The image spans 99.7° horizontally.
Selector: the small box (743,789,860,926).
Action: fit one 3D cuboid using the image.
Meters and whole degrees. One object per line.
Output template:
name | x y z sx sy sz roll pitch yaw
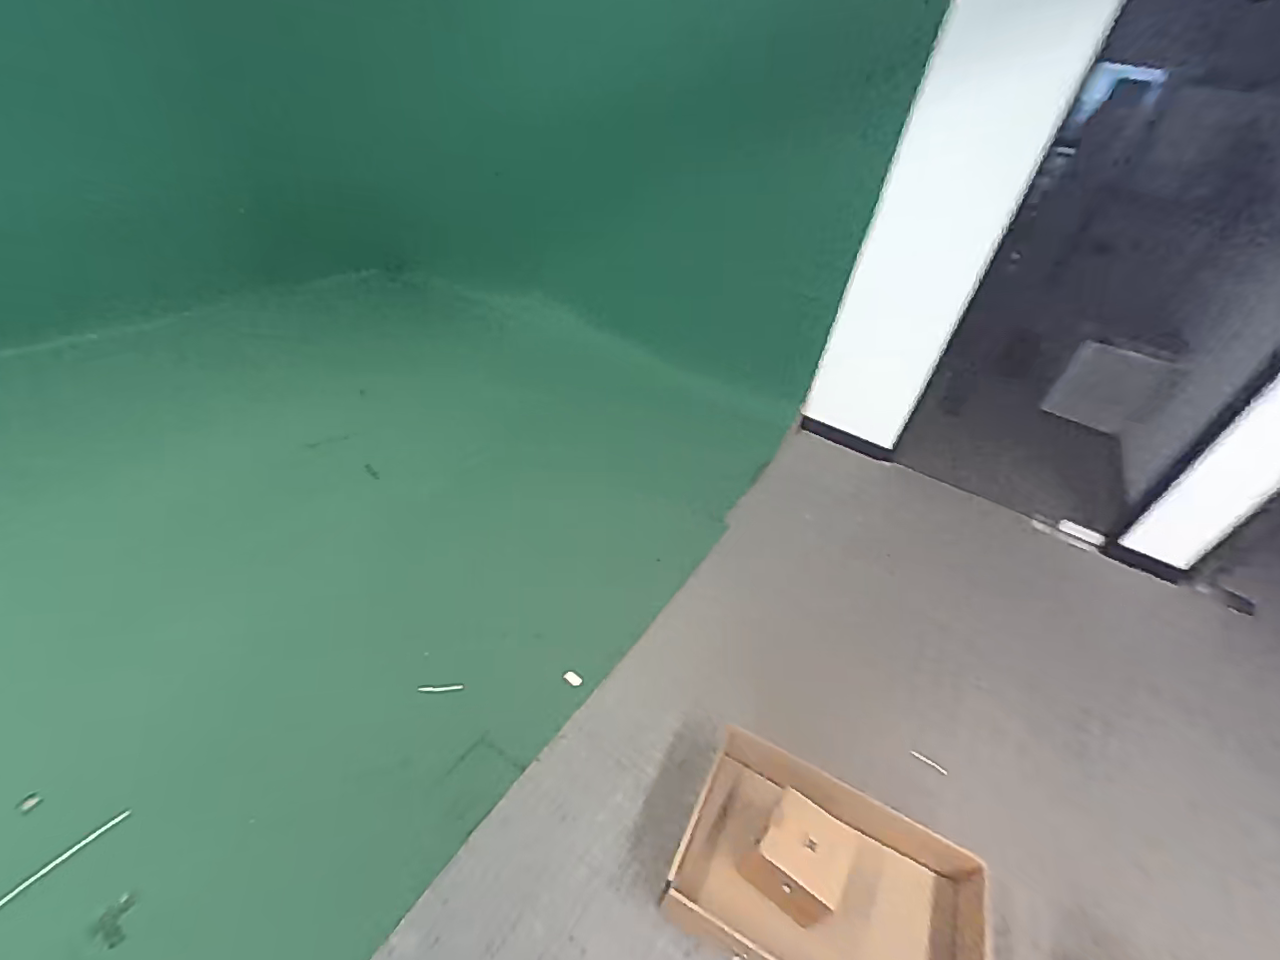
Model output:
small box | 0.353 0.844 1.205 0.179 0.176 0.168 30 44 20
